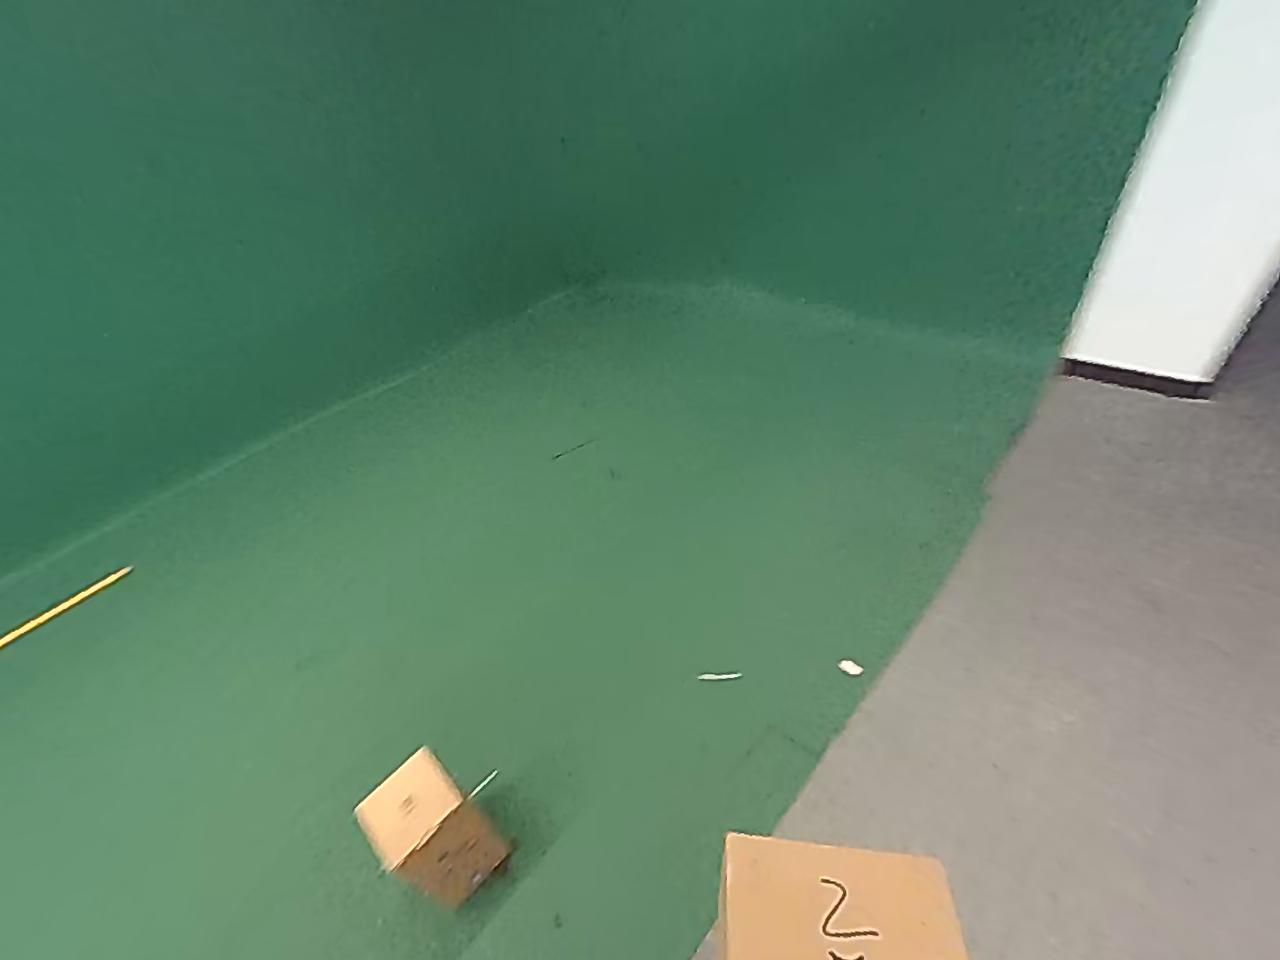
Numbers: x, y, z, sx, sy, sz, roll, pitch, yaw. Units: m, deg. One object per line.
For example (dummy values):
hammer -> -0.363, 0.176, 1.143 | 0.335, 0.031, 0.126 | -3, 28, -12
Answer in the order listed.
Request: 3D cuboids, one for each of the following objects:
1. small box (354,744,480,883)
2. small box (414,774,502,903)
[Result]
small box -> -0.482, 0.731, 1.182 | 0.179, 0.176, 0.168 | 28, 53, 36
small box -> -0.459, 0.854, 1.286 | 0.168, 0.176, 0.179 | -38, 48, -27
